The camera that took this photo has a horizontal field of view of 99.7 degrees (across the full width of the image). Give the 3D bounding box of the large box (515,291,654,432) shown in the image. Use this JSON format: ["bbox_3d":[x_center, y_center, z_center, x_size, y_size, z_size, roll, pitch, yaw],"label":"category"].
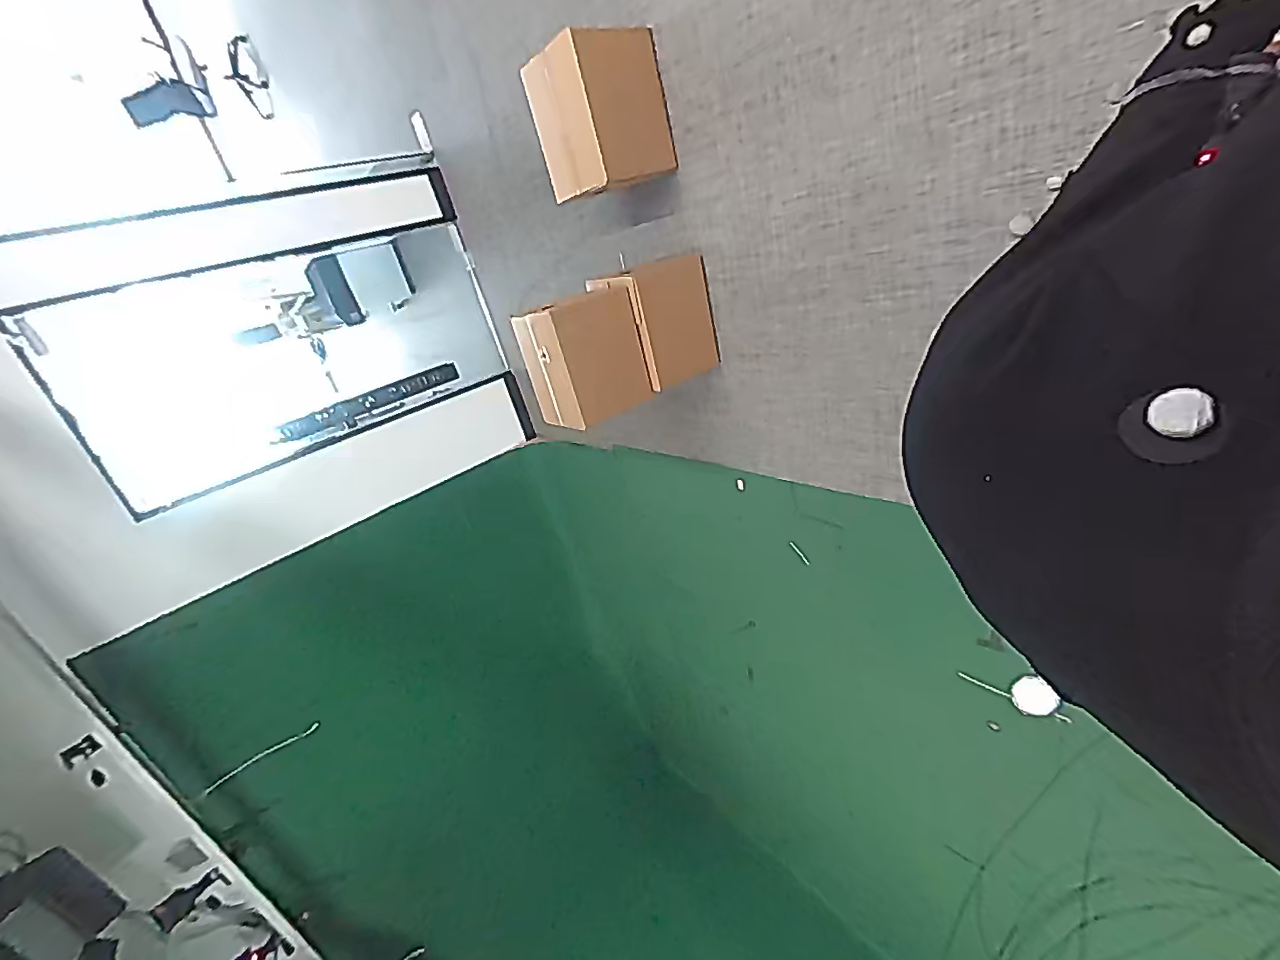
[{"bbox_3d":[-0.194,-0.424,1.931,0.320,0.320,0.408,18,129,52],"label":"large box"}]
